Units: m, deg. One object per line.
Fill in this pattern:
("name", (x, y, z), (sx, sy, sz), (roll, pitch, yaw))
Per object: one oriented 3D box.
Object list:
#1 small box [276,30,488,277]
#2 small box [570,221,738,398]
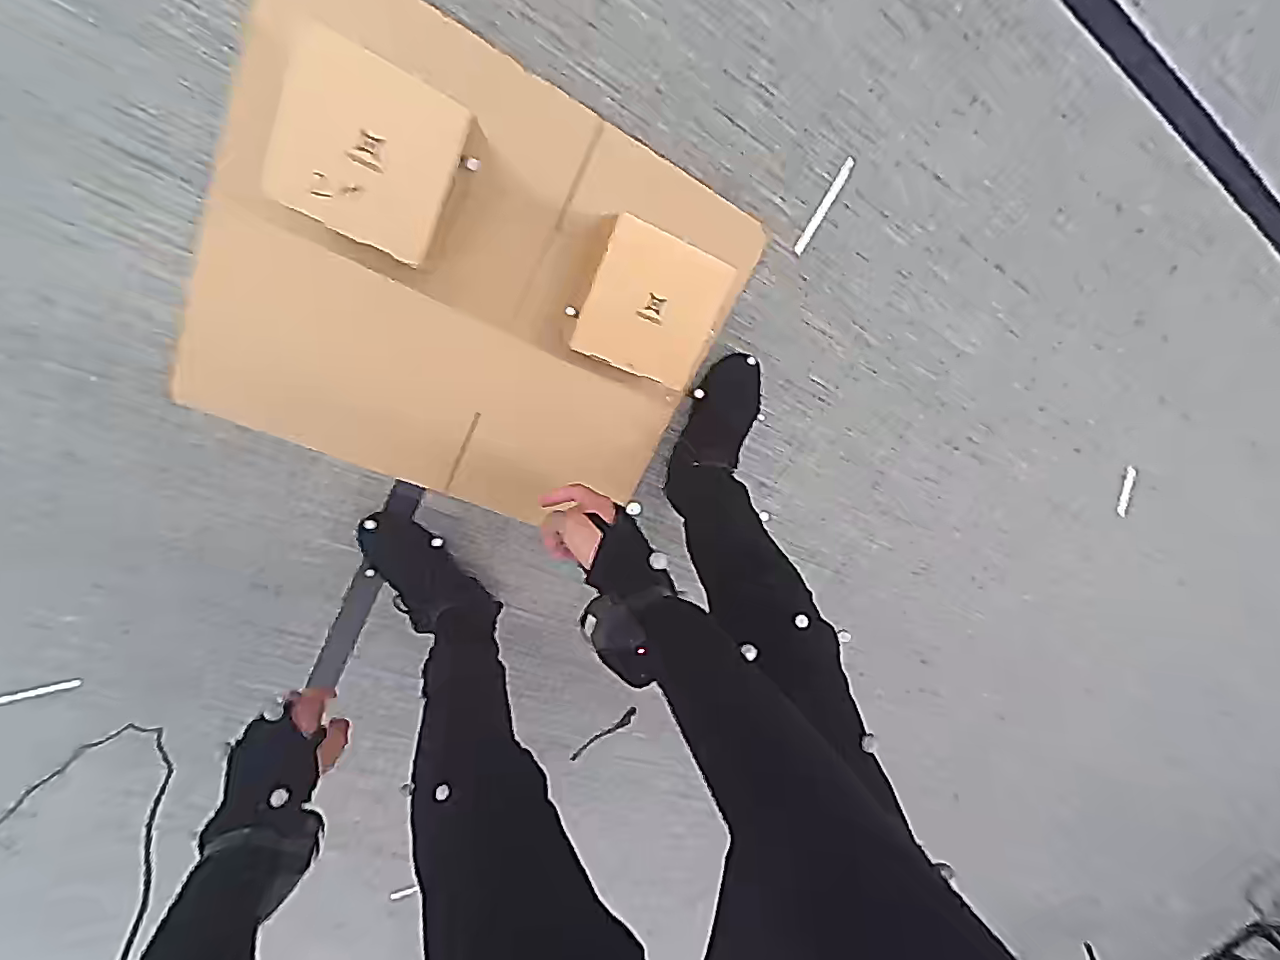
("small box", (-0.290, -0.367, 0.644), (0.168, 0.176, 0.179), (22, 108, -19))
("small box", (0.006, -0.244, 0.767), (0.168, 0.176, 0.179), (19, 109, -19))
